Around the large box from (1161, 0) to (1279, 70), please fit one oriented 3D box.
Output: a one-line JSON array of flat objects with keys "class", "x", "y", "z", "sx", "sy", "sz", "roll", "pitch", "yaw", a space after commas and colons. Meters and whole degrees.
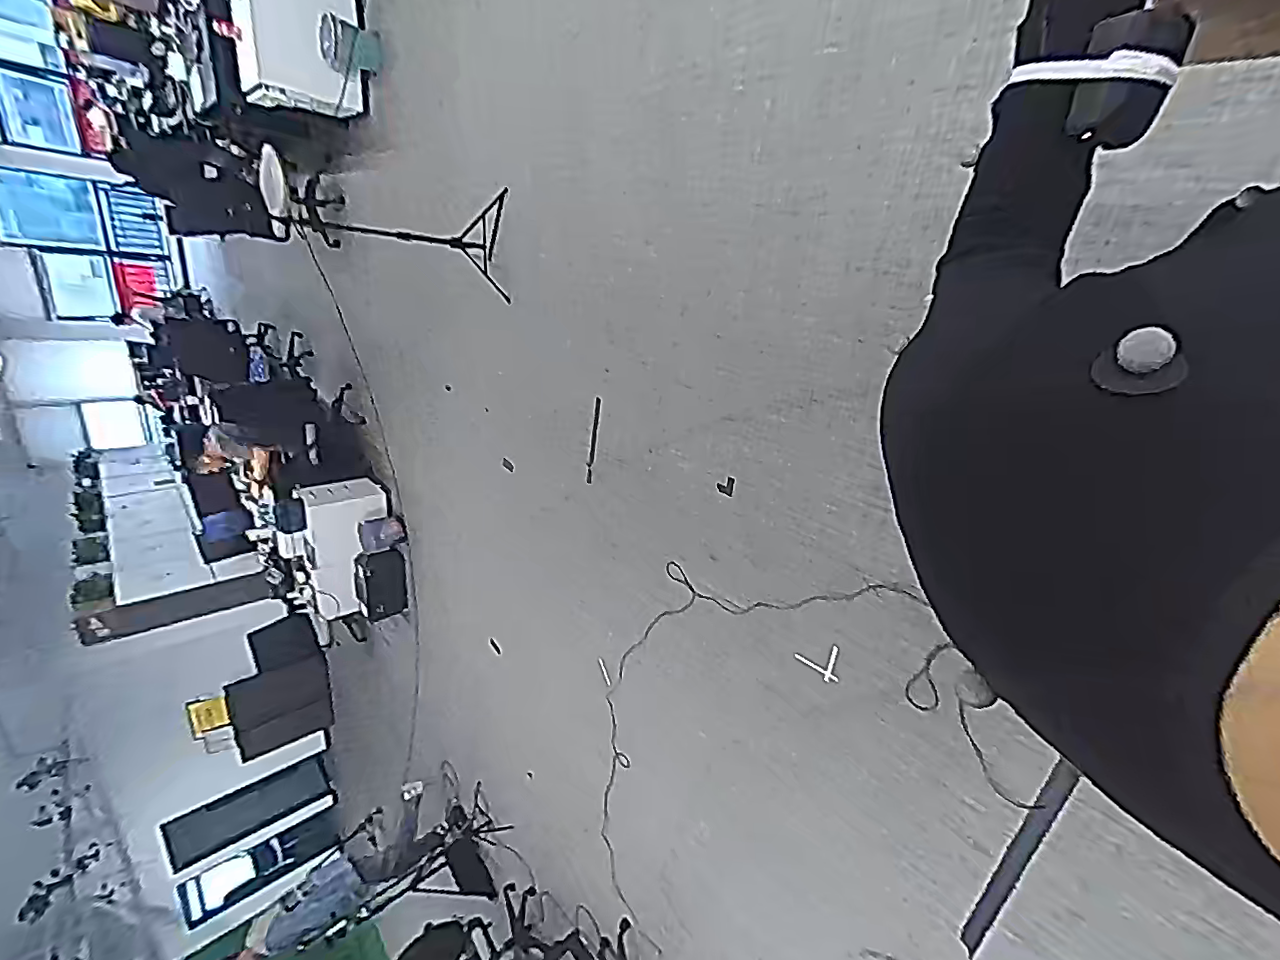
[{"class": "large box", "x": 0.555, "y": -0.422, "z": 0.240, "sx": 0.408, "sy": 0.320, "sz": 0.320, "roll": 23, "pitch": 126, "yaw": 36}]
